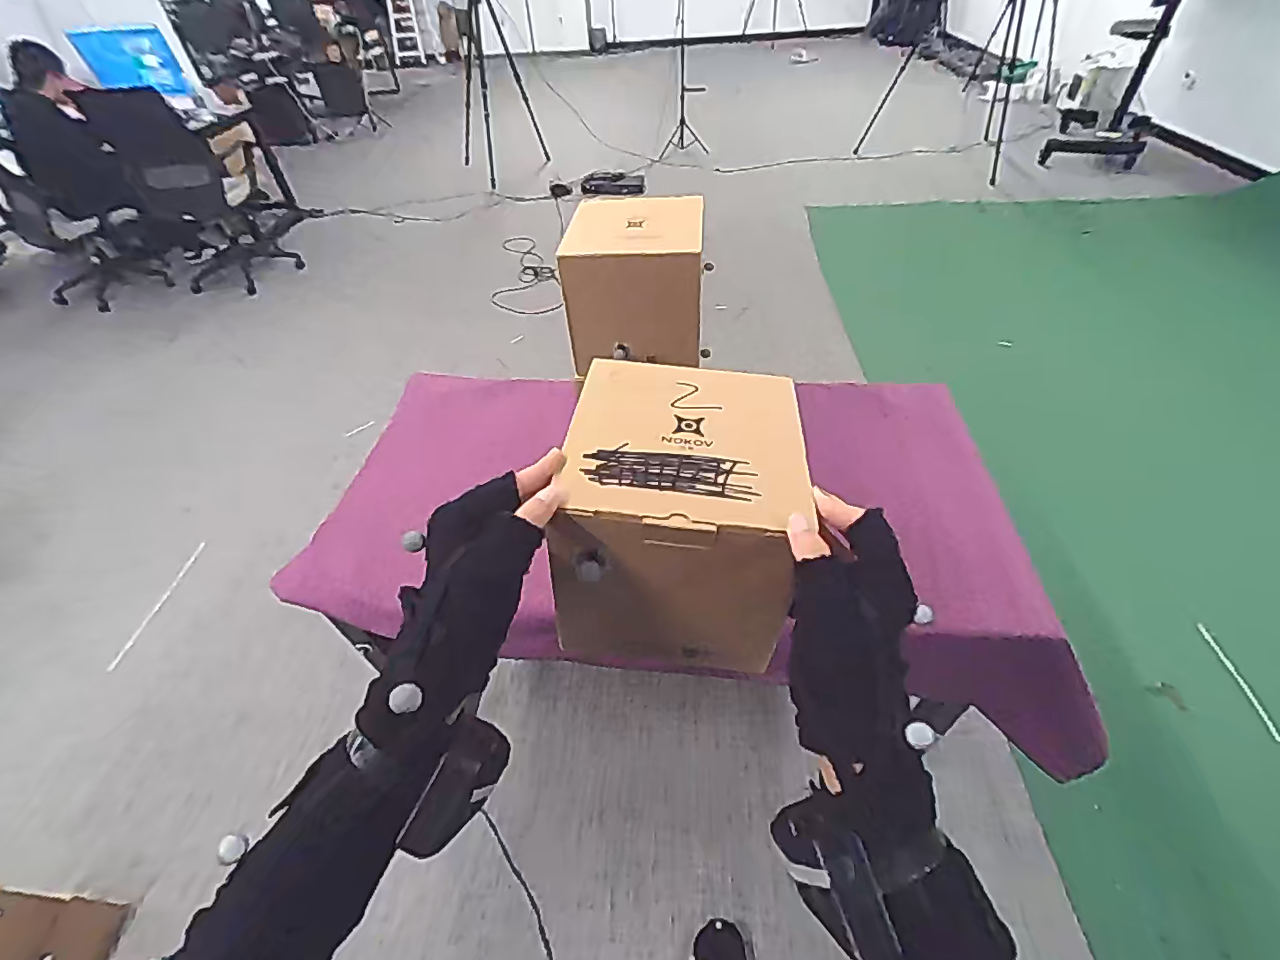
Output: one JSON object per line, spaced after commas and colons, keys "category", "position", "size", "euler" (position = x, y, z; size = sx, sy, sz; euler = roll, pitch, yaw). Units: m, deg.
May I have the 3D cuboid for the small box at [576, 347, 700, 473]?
{"category": "small box", "position": [0.006, -0.132, 0.835], "size": [0.168, 0.176, 0.179], "euler": [2, 46, 7]}

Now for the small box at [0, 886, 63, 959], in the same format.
{"category": "small box", "position": [-1.247, 0.854, 0.987], "size": [0.168, 0.176, 0.179], "euler": [0, 45, 4]}

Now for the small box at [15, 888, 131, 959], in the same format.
{"category": "small box", "position": [-1.235, 0.959, 1.112], "size": [0.179, 0.176, 0.168], "euler": [0, 46, 5]}

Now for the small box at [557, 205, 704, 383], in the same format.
{"category": "small box", "position": [-0.002, -0.249, 0.722], "size": [0.168, 0.176, 0.179], "euler": [2, 46, 7]}

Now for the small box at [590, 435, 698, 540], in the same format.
{"category": "small box", "position": [0.016, -0.011, 0.947], "size": [0.168, 0.176, 0.179], "euler": [2, 45, 7]}
